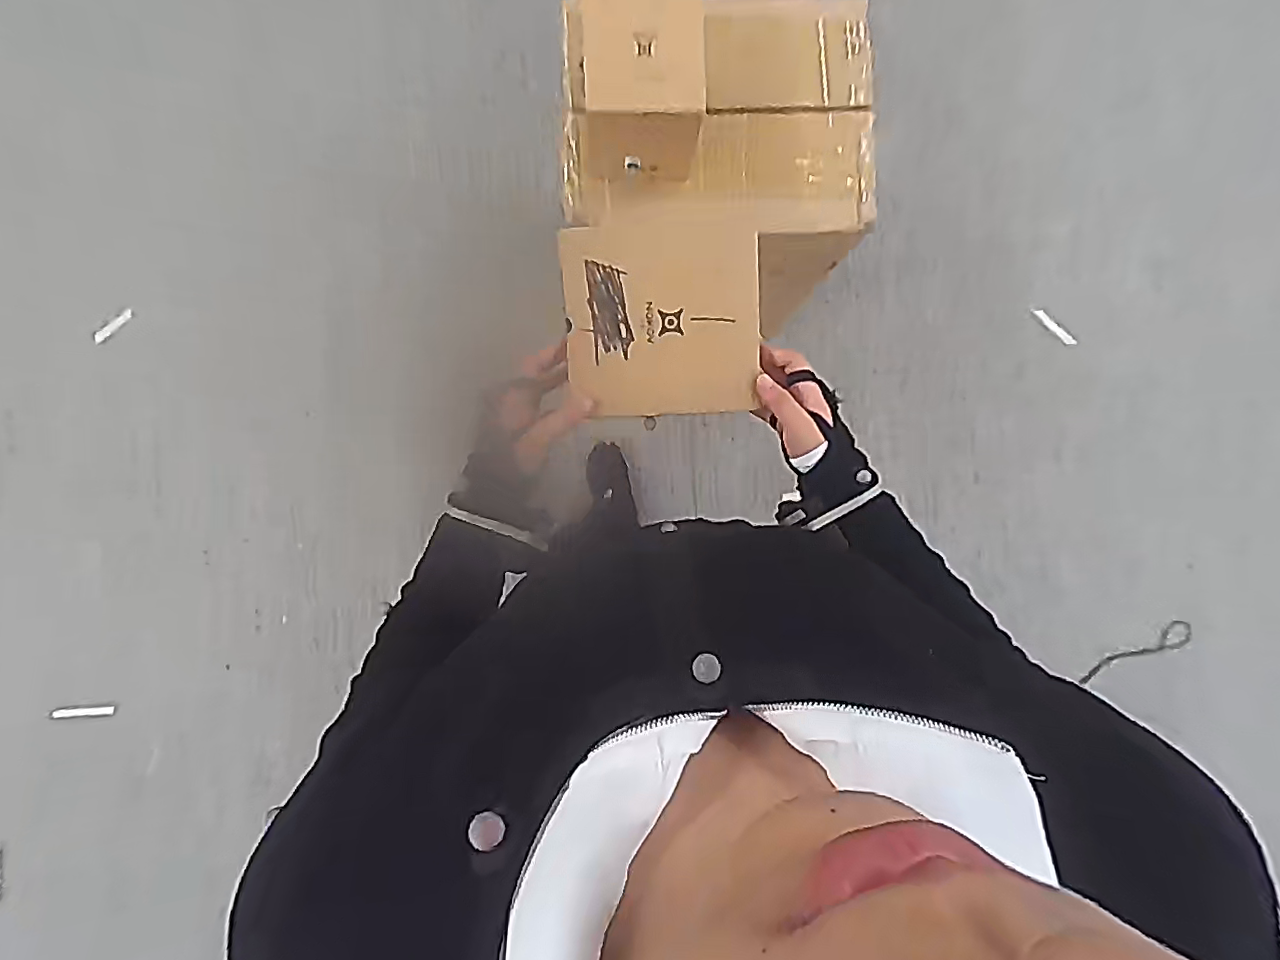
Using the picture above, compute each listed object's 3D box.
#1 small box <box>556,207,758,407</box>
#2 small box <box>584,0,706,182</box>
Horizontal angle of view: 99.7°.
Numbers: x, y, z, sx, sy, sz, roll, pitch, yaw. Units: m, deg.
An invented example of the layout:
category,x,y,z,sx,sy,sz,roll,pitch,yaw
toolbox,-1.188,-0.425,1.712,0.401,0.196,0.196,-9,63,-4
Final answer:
category,x,y,z,sx,sy,sz,roll,pitch,yaw
small box,0.016,-0.162,0.555,0.179,0.176,0.168,-2,97,-1
small box,0.003,-0.581,0.814,0.168,0.176,0.179,-3,91,-2
